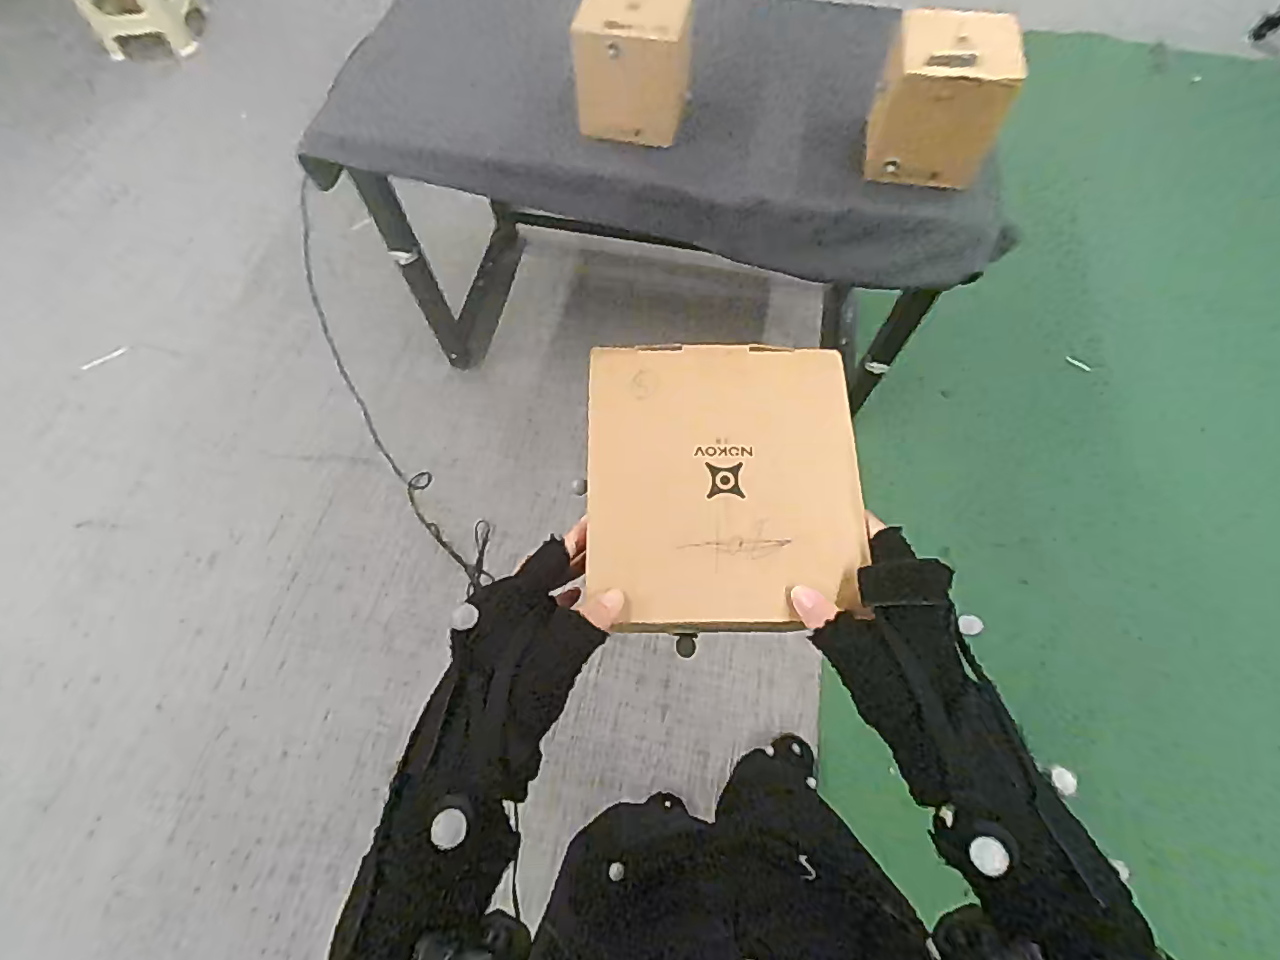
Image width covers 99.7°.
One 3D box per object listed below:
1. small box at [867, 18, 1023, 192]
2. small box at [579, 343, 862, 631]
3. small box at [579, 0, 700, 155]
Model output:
[{"bbox_3d":[0.479,-0.597,0.872,0.168,0.176,0.179,10,65,7],"label":"small box"},{"bbox_3d":[0.043,0.018,0.408,0.168,0.176,0.179,0,72,-2],"label":"small box"},{"bbox_3d":[0.001,-0.699,0.925,0.168,0.176,0.179,11,65,5],"label":"small box"}]
